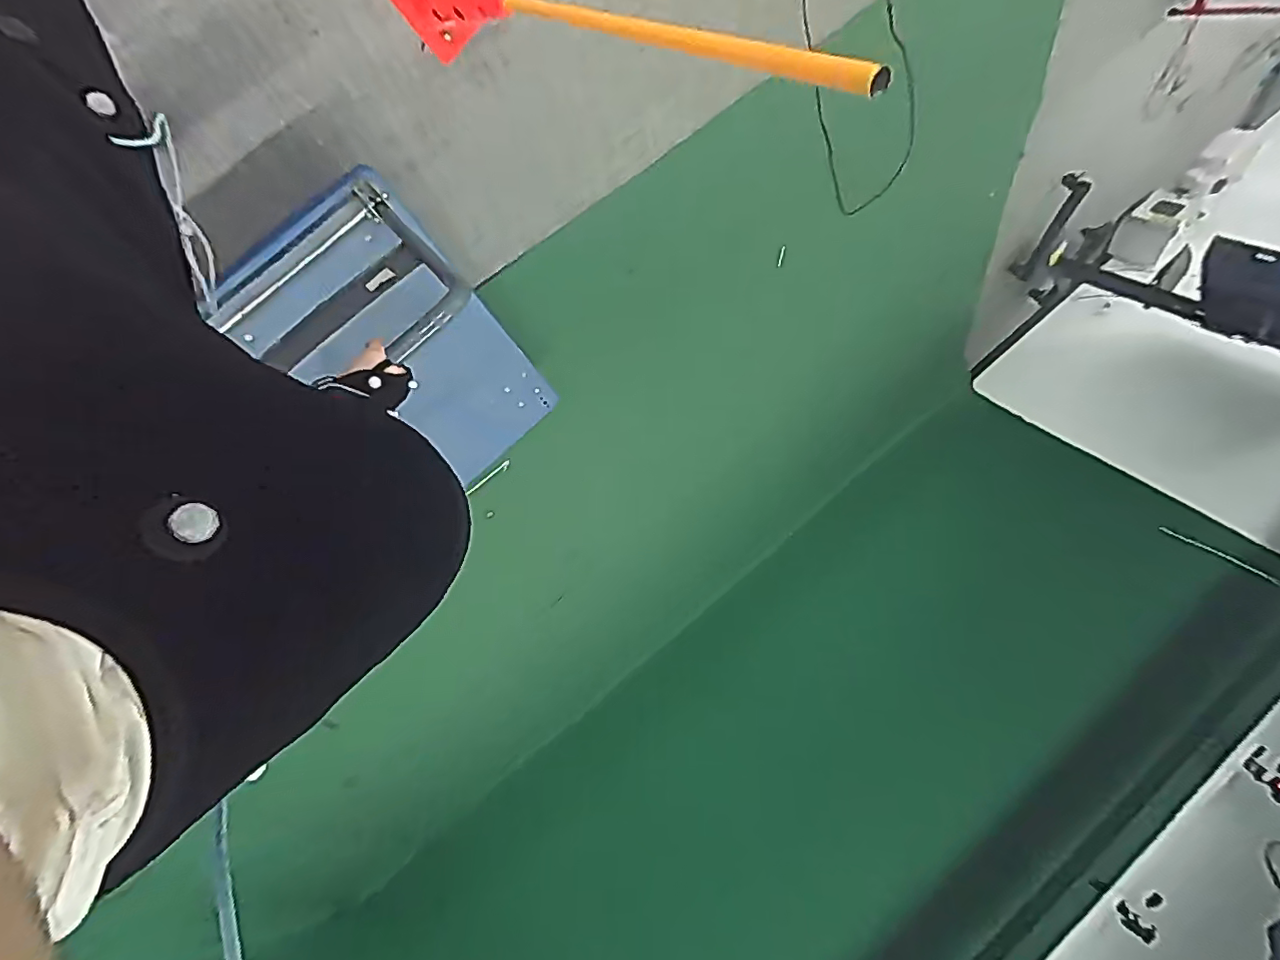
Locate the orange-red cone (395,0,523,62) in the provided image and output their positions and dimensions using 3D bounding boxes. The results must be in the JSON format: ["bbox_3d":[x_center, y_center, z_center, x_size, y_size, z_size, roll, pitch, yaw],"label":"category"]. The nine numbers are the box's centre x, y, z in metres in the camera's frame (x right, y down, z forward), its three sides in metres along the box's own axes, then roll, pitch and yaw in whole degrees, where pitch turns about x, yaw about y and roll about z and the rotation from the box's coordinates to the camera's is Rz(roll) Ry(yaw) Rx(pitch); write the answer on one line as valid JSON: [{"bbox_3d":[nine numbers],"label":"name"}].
[{"bbox_3d":[-0.333,-0.974,1.086,0.199,0.360,0.198,-49,146,4],"label":"orange-red cone"}]
